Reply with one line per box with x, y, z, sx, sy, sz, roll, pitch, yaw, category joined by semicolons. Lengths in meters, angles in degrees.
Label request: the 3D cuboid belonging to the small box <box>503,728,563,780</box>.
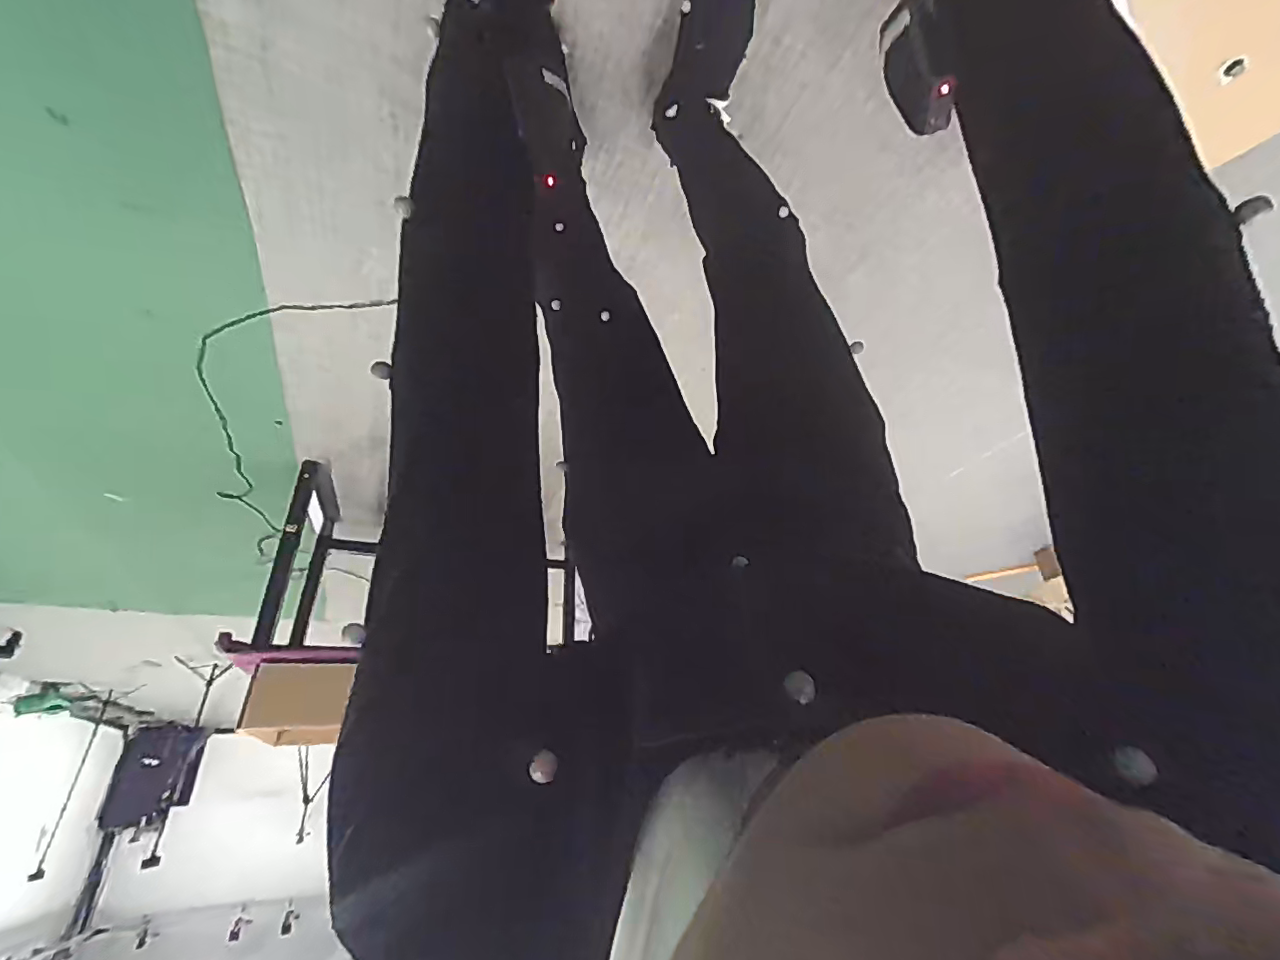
-0.416;1.061;2.096;0.179;0.176;0.168;-15;147;20;small box
